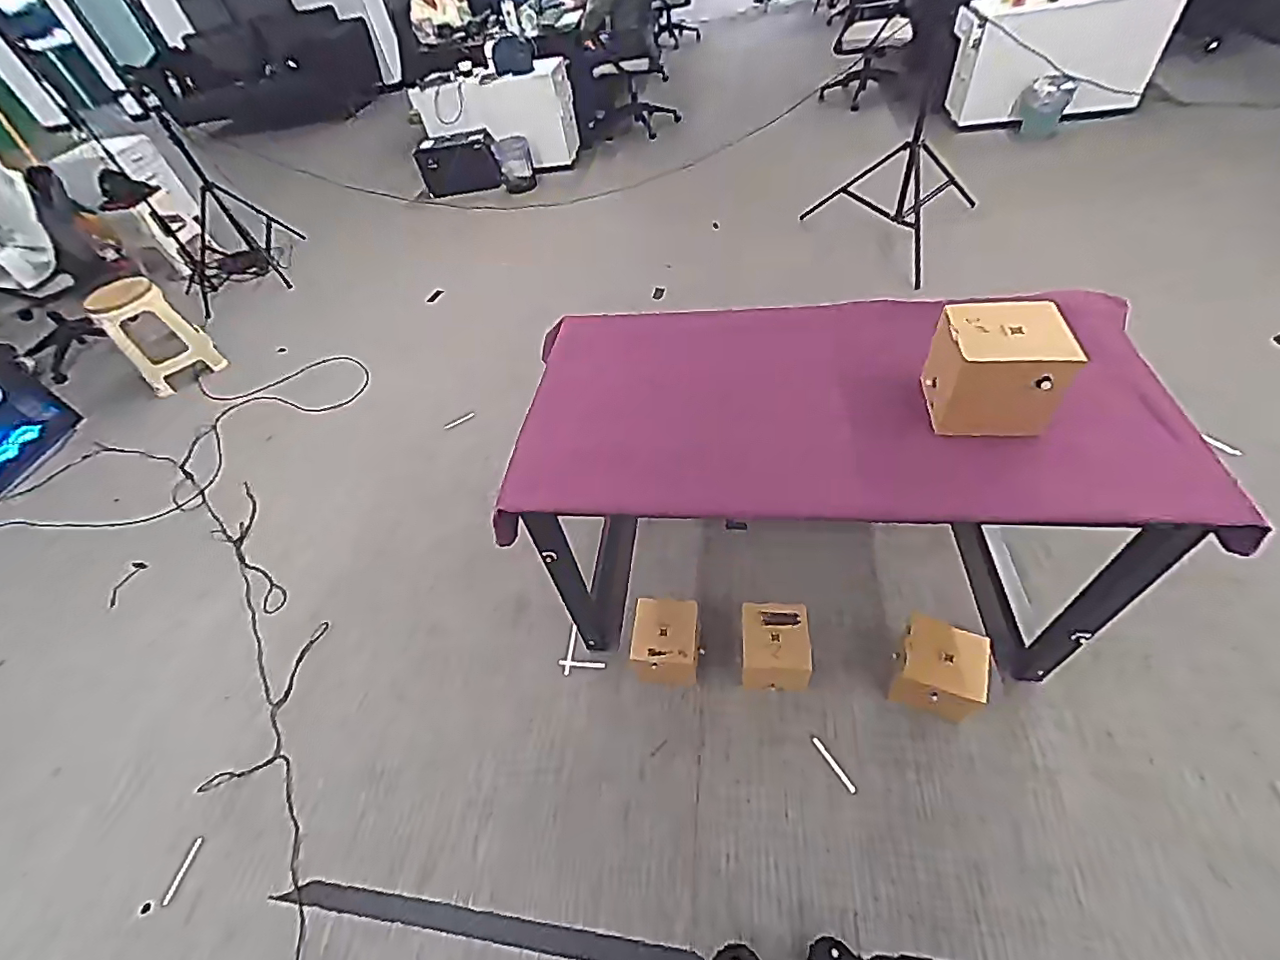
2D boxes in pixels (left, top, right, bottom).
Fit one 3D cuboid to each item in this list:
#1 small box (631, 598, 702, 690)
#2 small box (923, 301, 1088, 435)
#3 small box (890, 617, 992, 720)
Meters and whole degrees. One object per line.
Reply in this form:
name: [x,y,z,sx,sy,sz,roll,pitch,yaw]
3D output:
small box: [0.078,0.446,1.471,0.168,0.176,0.179,2,49,12]
small box: [0.624,-0.193,0.951,0.179,0.176,0.168,2,49,12]
small box: [0.737,0.470,1.334,0.179,0.176,0.168,14,54,22]
